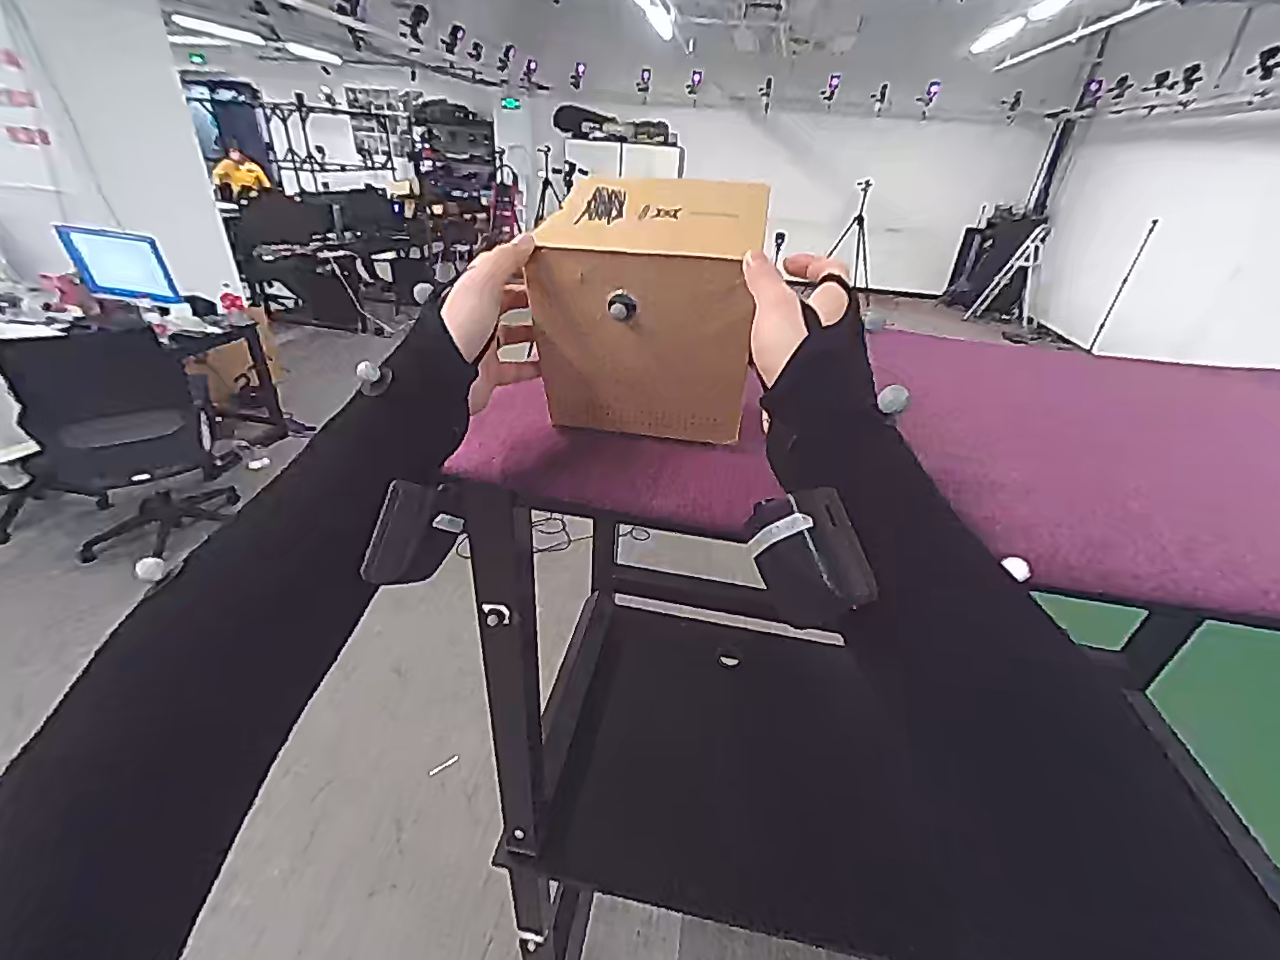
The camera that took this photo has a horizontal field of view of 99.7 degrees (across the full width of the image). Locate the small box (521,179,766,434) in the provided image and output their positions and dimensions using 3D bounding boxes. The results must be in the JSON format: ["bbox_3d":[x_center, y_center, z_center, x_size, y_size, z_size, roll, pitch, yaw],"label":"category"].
[{"bbox_3d":[0.014,-0.160,0.496,0.179,0.176,0.168,8,45,9],"label":"small box"}]
